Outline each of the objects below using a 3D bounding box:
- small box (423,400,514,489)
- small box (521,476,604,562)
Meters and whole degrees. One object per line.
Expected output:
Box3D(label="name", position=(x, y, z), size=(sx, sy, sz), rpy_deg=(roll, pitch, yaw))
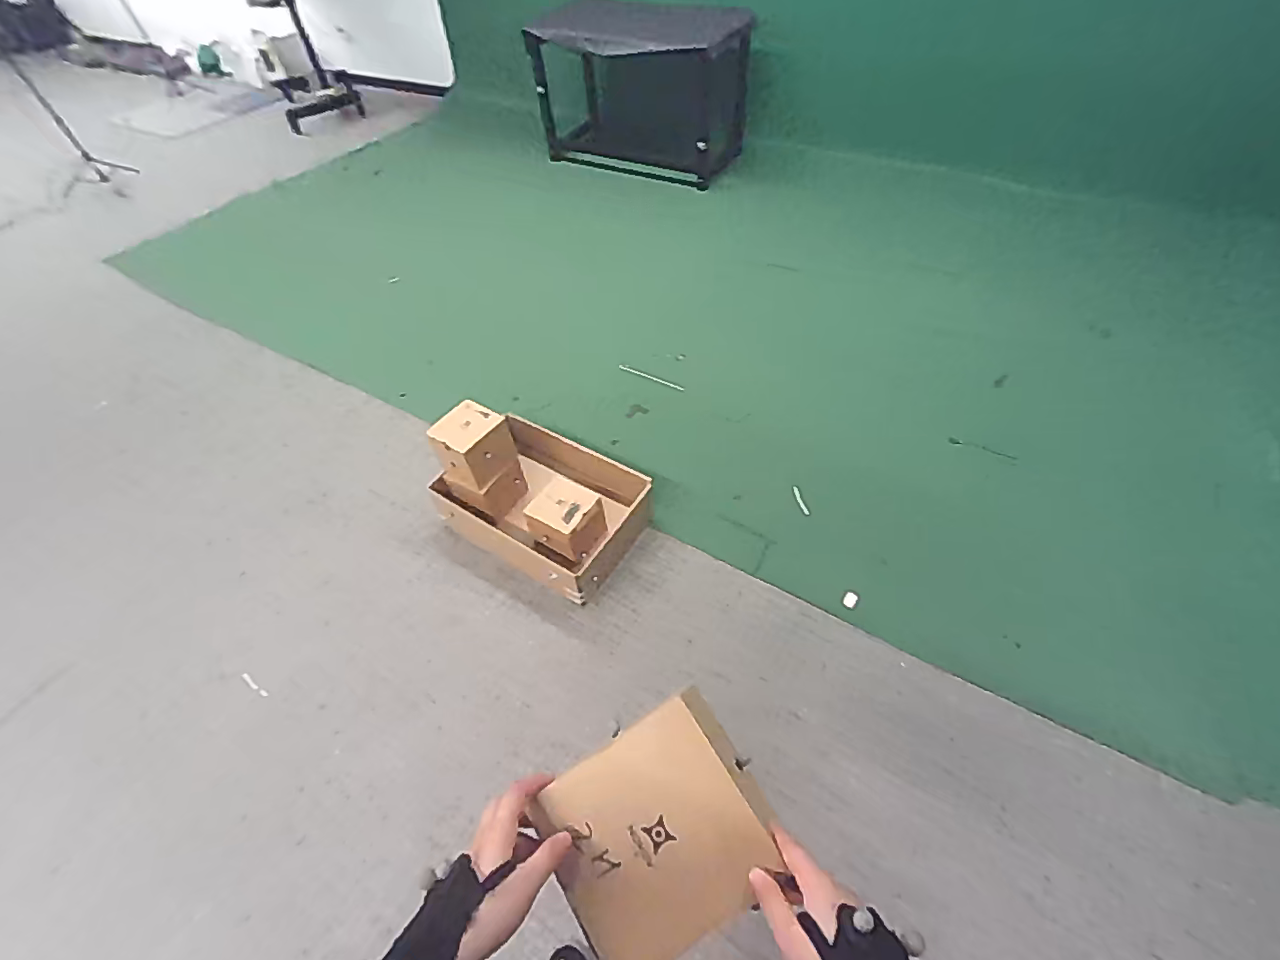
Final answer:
Box3D(label="small box", position=(-0.508, -0.104, 1.632), size=(0.168, 0.176, 0.179), rpy_deg=(27, 59, 23))
Box3D(label="small box", position=(-0.225, 0.125, 1.638), size=(0.179, 0.176, 0.168), rpy_deg=(24, 57, 23))
